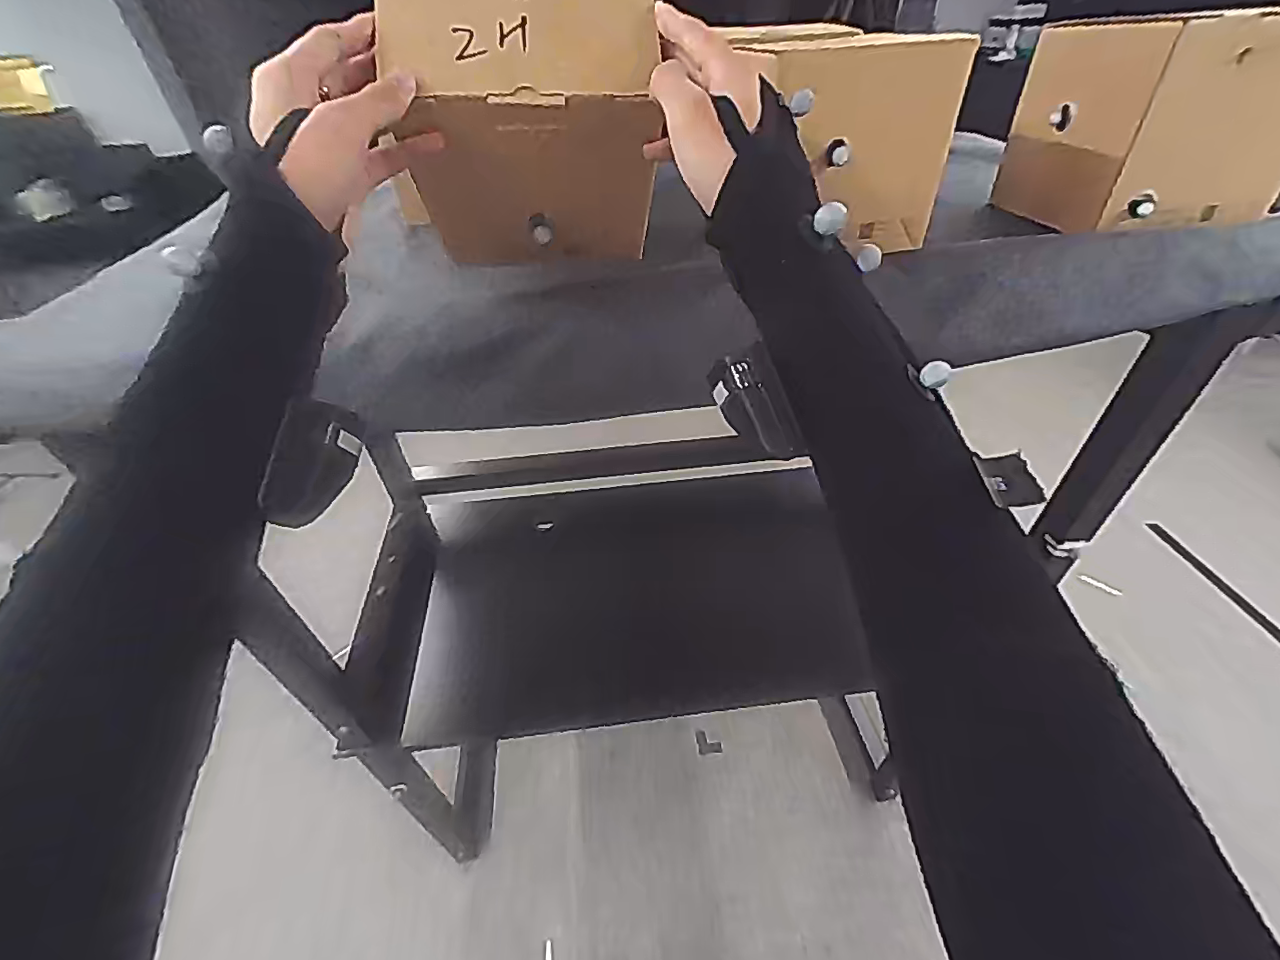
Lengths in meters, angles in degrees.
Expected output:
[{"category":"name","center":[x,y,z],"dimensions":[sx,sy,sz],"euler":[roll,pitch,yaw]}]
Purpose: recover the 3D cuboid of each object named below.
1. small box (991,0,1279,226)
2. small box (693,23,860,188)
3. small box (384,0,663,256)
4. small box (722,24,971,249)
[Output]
[{"category":"small box","center":[0.497,-0.358,0.537],"dimensions":[0.168,0.176,0.179],"euler":[-5,38,-1]},{"category":"small box","center":[0.168,-0.505,0.734],"dimensions":[0.168,0.176,0.179],"euler":[-7,40,-4]},{"category":"small box","center":[-0.081,-0.299,0.414],"dimensions":[0.168,0.176,0.179],"euler":[-4,78,-6]},{"category":"small box","center":[0.182,-0.339,0.541],"dimensions":[0.168,0.176,0.179],"euler":[-6,39,-3]}]
